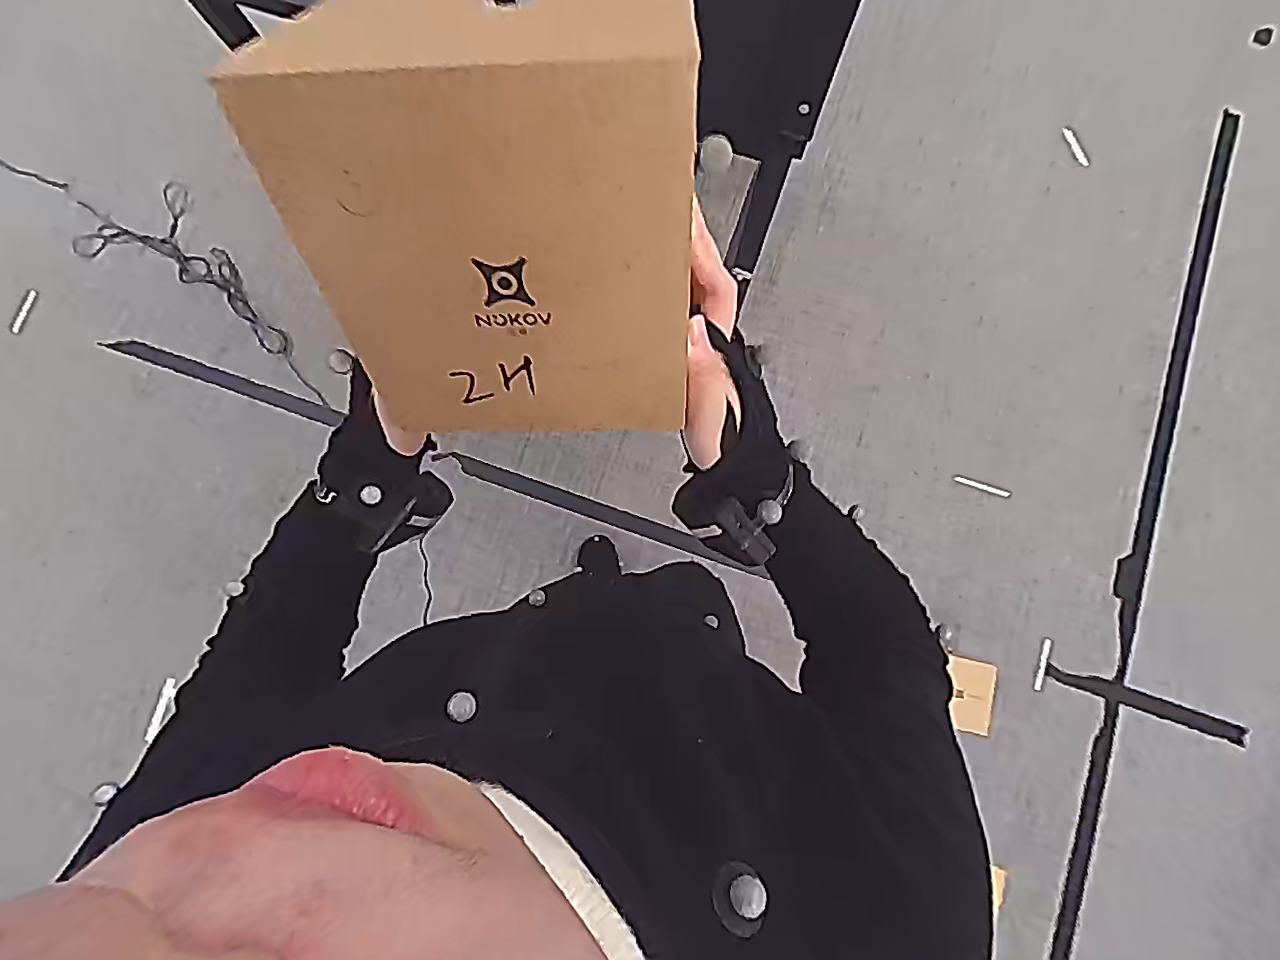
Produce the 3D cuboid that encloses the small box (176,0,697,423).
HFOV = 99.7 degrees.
[{"bbox_3d":[-0.061,-0.150,0.279,0.168,0.179,0.176,0,52,3],"label":"small box"}]

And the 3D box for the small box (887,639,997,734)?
[{"bbox_3d":[0.749,0.509,1.357,0.179,0.176,0.168,13,84,2],"label":"small box"}]
